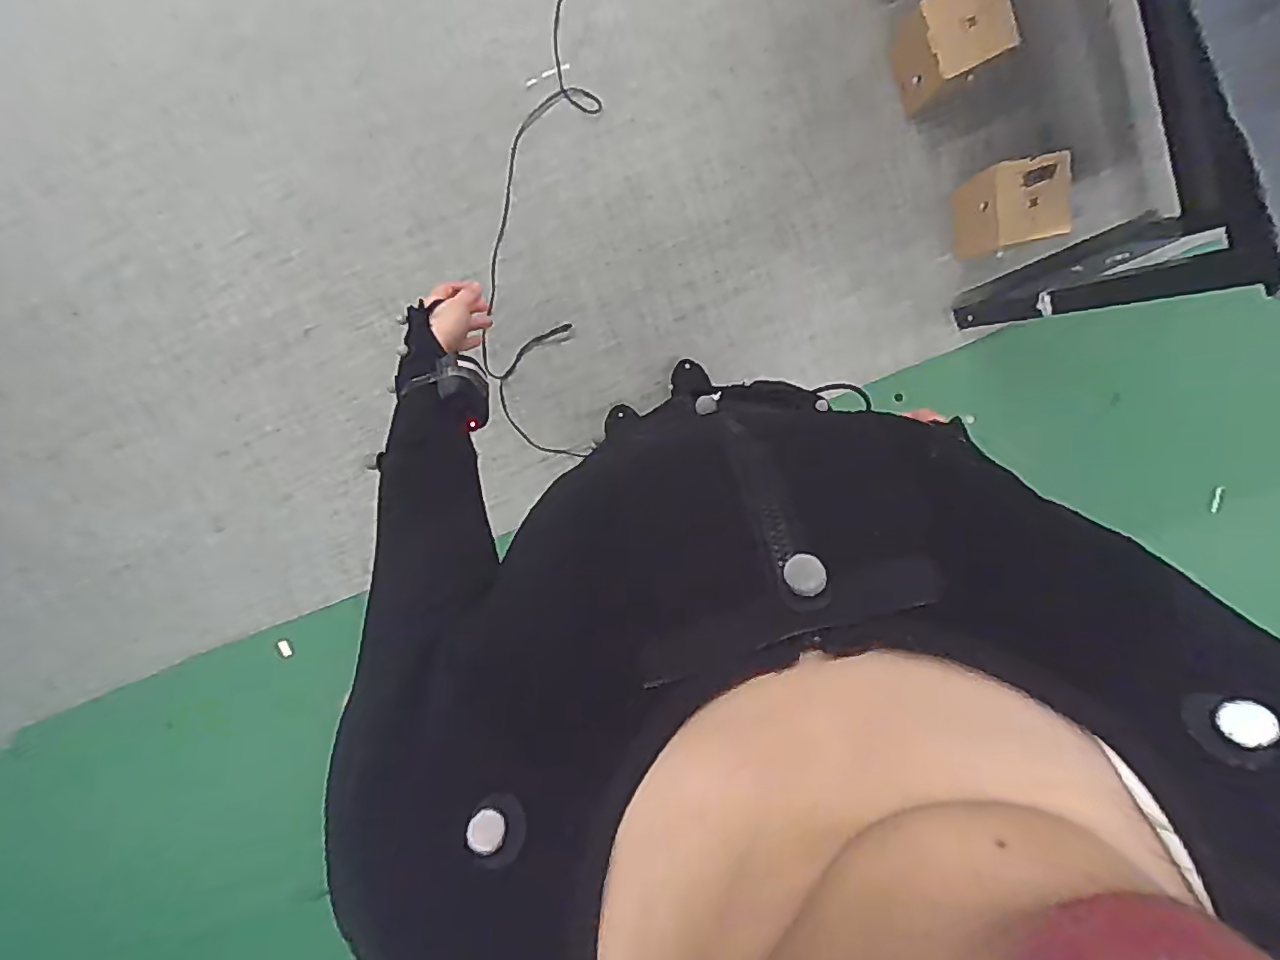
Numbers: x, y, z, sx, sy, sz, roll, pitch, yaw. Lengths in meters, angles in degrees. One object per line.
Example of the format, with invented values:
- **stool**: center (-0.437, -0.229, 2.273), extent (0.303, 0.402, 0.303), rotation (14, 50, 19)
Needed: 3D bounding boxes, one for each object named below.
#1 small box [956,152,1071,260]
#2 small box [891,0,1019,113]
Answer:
- **small box**: center (0.878, -0.641, 1.284), extent (0.168, 0.176, 0.179), rotation (-10, 102, 2)
- **small box**: center (0.695, -0.977, 1.220), extent (0.179, 0.176, 0.168), rotation (-25, 100, 3)
